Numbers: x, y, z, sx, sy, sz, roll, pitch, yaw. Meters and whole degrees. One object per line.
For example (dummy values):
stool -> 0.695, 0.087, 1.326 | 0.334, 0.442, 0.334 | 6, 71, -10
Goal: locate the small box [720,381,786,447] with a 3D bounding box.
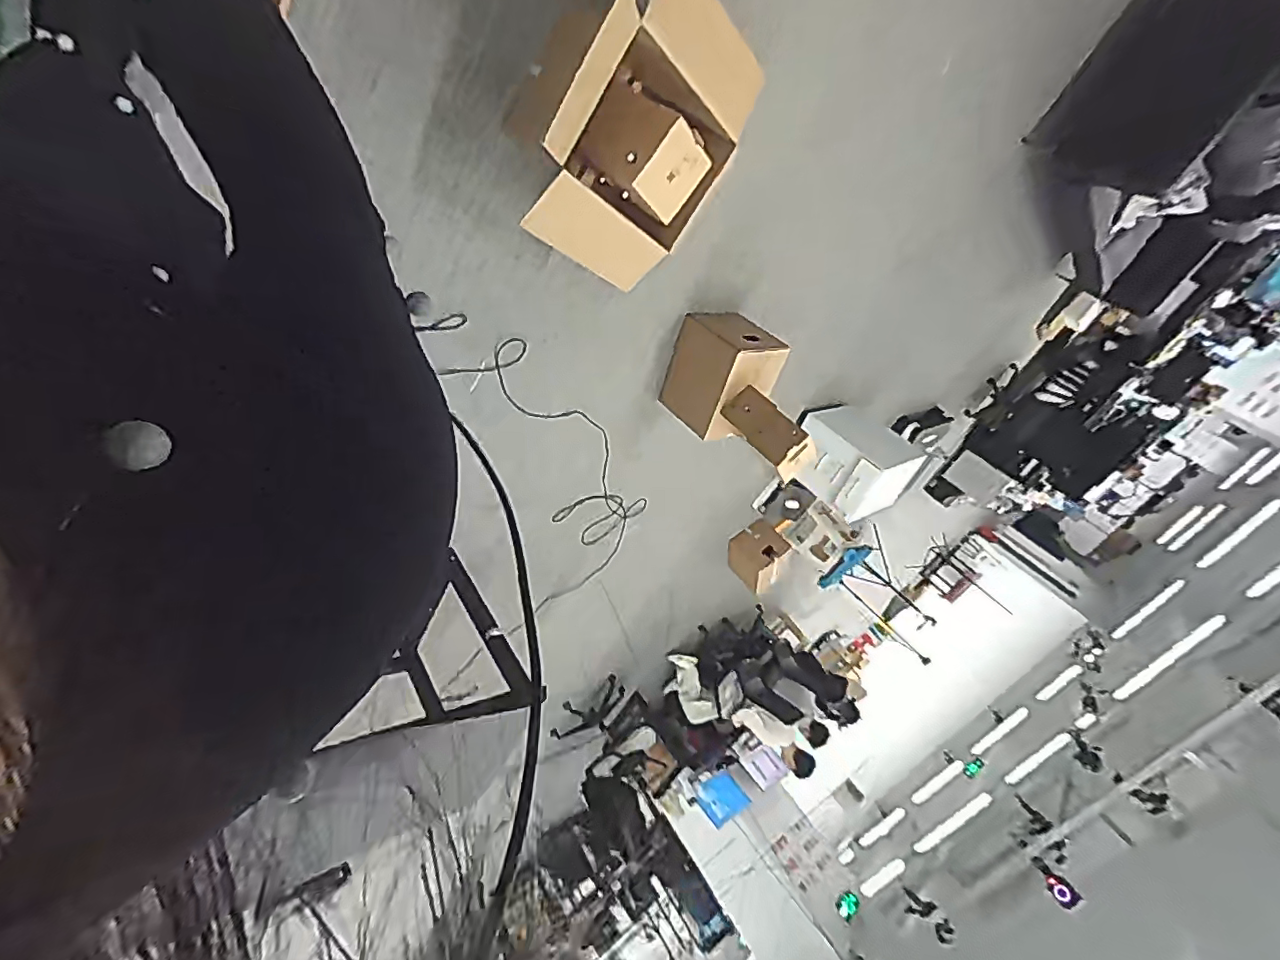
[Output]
small box -> 0.441, -0.264, 2.119 | 0.168, 0.176, 0.179 | -45, 146, 4

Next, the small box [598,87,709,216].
small box -> 0.023, -0.777, 1.283 | 0.179, 0.176, 0.168 | -51, 151, 14
